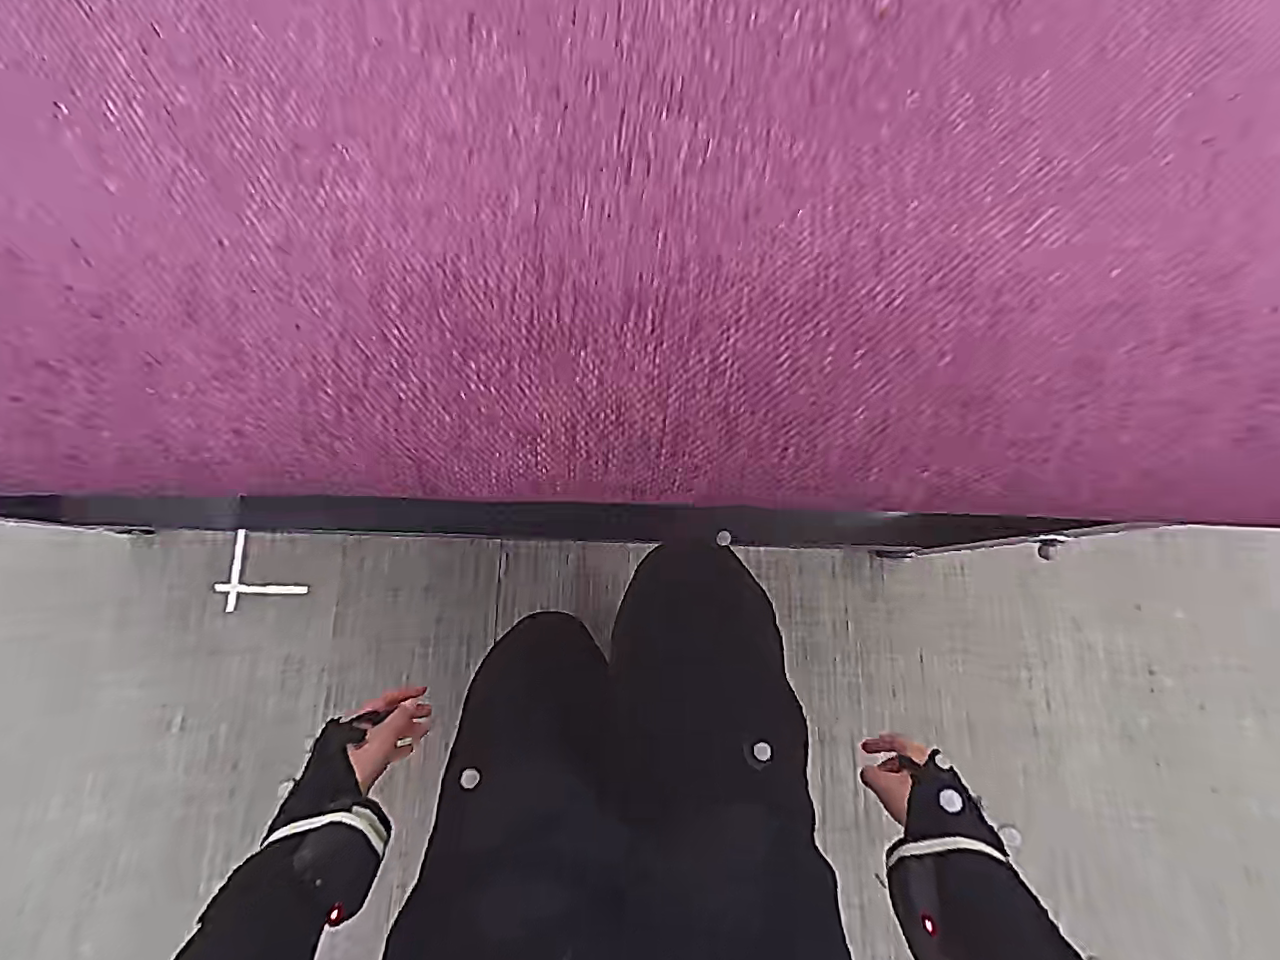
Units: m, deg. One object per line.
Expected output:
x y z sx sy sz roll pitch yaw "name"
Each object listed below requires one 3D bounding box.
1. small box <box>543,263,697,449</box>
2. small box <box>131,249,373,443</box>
-0.021 -0.141 0.660 0.168 0.176 0.179 0 82 1 "small box"
-0.447 -0.151 0.655 0.168 0.176 0.179 2 82 -1 "small box"
